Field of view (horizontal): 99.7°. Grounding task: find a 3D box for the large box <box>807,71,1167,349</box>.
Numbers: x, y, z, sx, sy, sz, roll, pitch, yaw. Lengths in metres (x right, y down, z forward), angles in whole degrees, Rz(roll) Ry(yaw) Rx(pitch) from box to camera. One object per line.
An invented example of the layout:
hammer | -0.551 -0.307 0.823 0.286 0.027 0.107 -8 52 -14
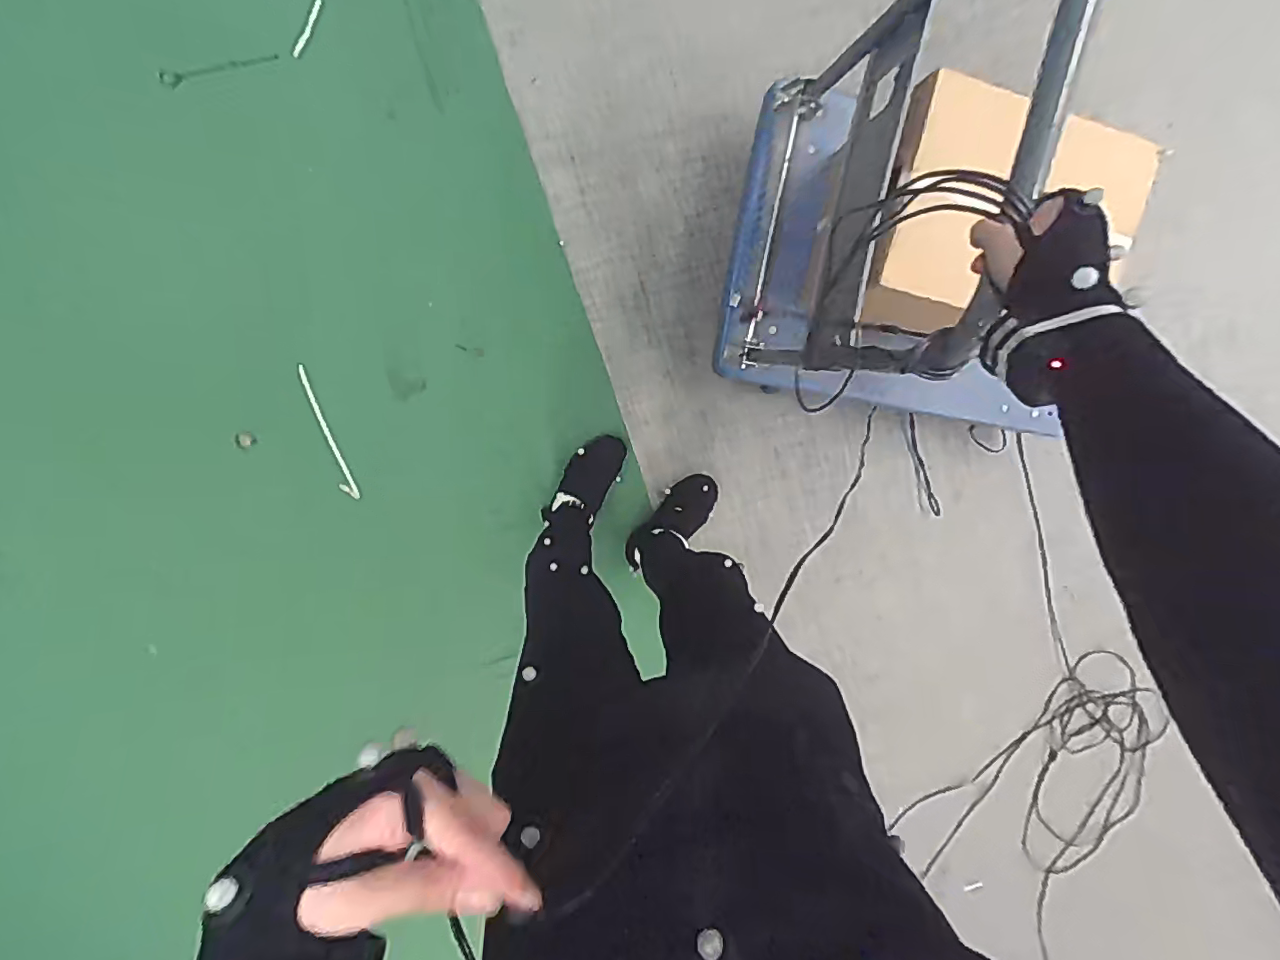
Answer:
large box | 0.578 -0.437 0.975 0.408 0.320 0.320 11 100 -10
